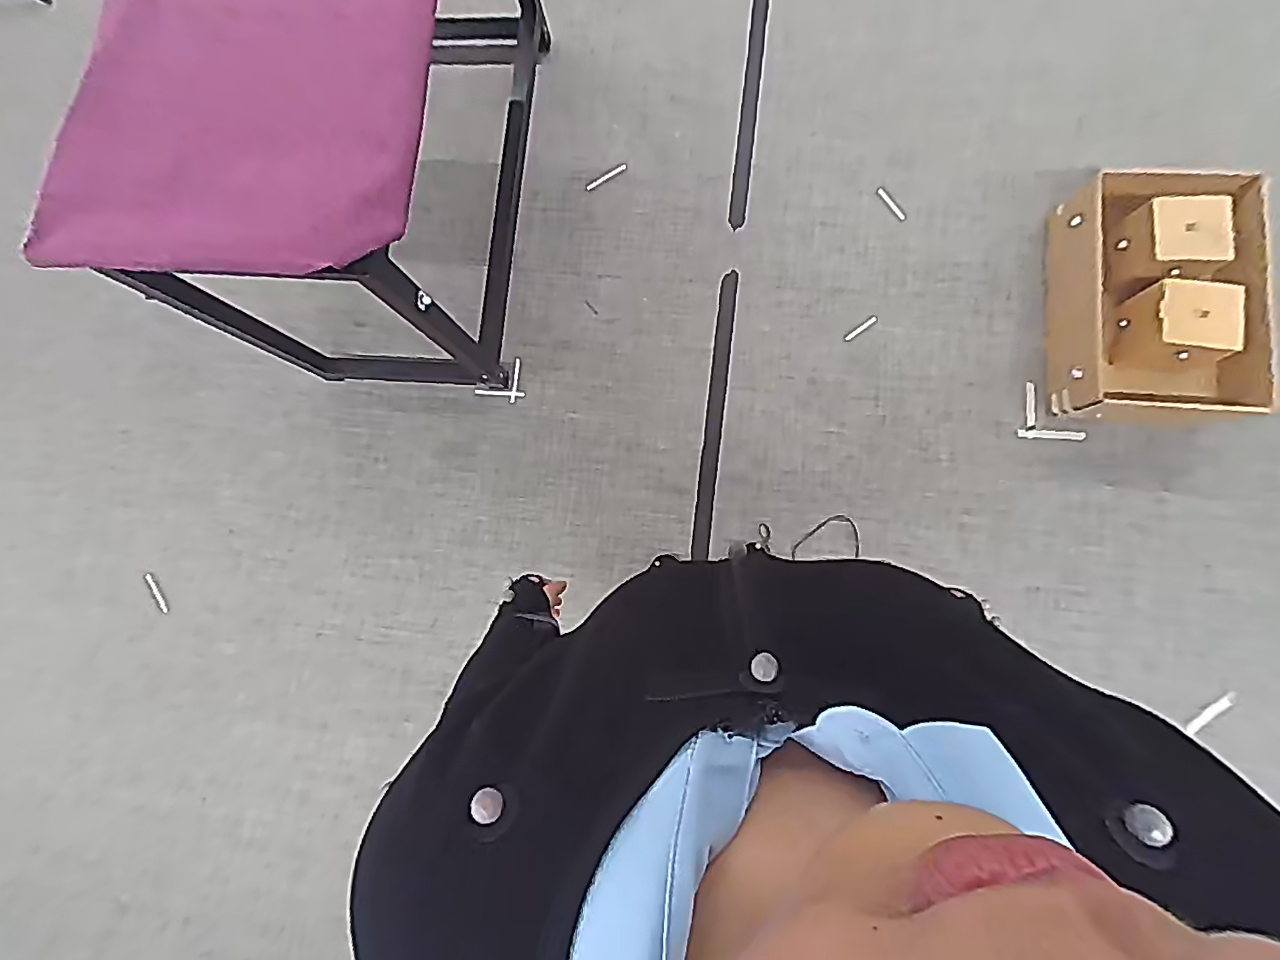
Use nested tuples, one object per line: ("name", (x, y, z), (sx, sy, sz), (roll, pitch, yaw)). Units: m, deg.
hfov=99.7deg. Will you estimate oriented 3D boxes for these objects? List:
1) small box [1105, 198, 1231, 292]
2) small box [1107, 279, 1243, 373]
("small box", (1.344, -0.597, 1.391), (0.179, 0.176, 0.168), (3, 85, 5))
("small box", (1.345, -0.381, 1.367), (0.179, 0.176, 0.168), (10, 83, 6))
